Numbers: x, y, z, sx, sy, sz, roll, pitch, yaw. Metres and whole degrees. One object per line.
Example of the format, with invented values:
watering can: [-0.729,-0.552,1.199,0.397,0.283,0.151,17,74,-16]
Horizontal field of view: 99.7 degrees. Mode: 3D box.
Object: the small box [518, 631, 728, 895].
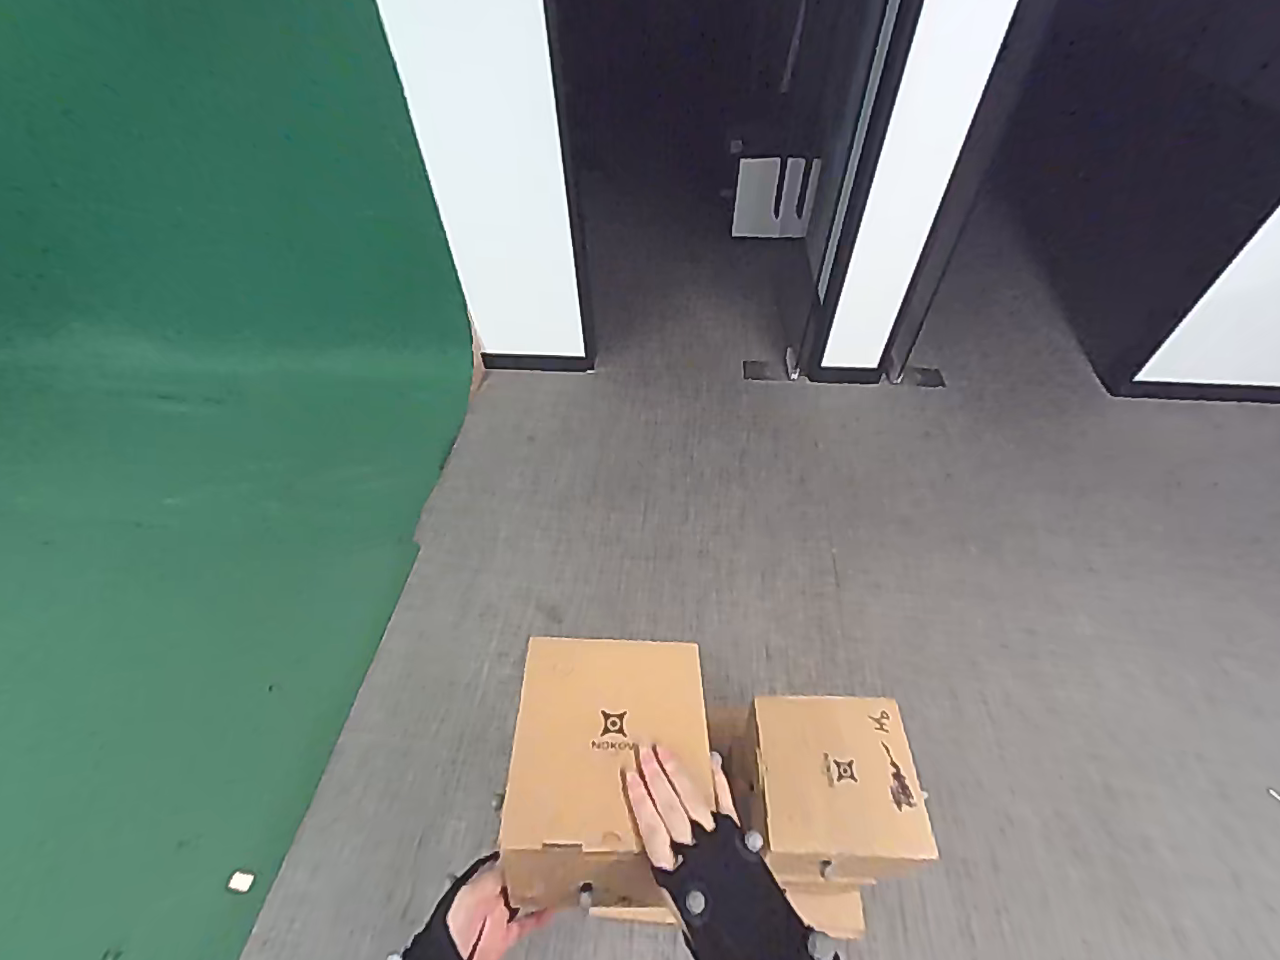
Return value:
small box: [-0.023,0.273,0.527,0.168,0.176,0.179,5,40,-5]
